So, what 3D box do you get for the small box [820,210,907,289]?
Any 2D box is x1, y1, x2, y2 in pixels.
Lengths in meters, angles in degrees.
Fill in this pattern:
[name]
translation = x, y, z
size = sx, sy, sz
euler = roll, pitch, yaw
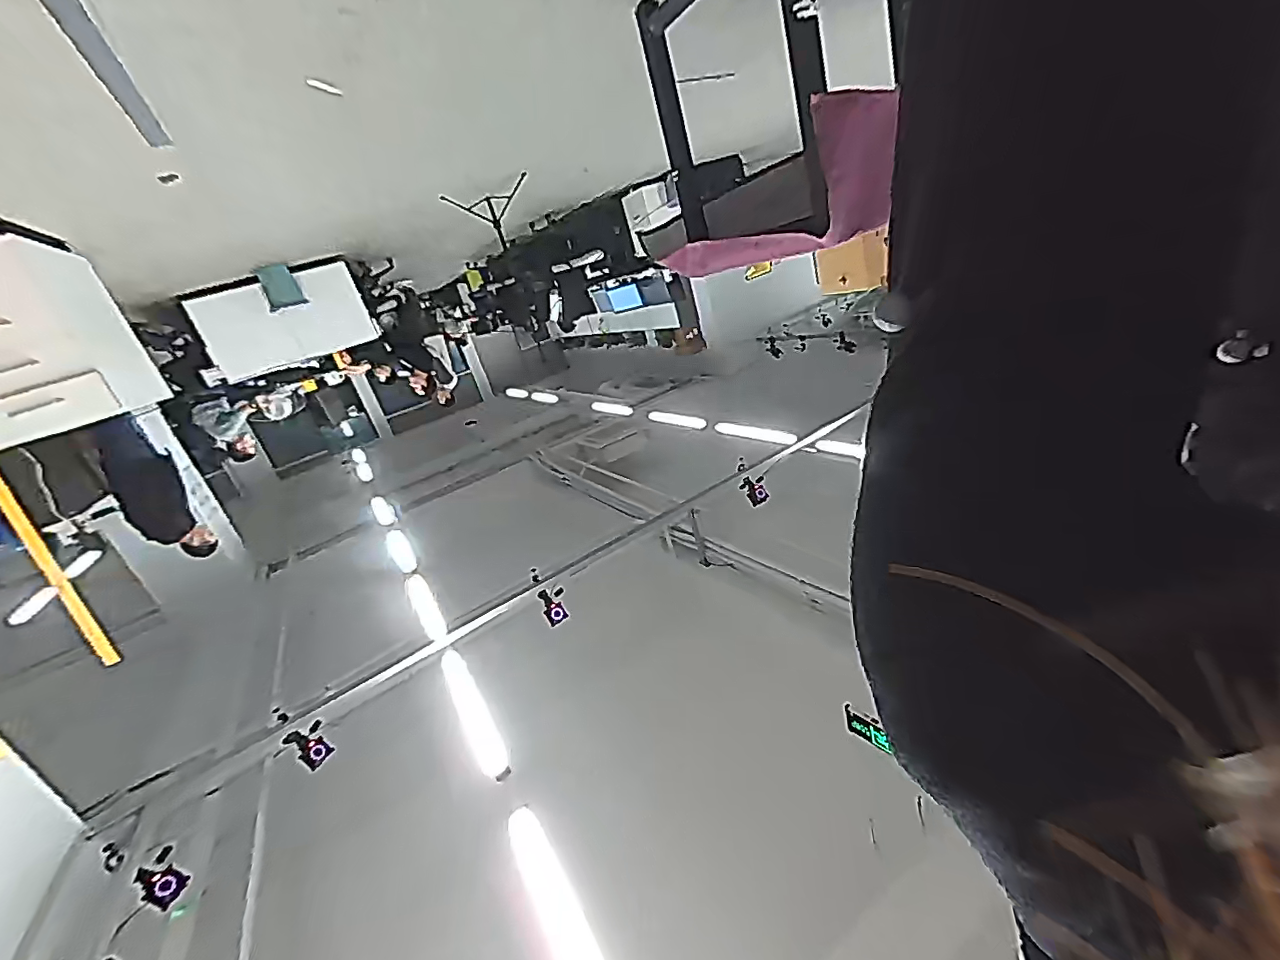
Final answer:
[small box]
translation = 0.648, -0.673, 1.581
size = 0.168, 0.176, 0.179
euler = -27, -157, -21
